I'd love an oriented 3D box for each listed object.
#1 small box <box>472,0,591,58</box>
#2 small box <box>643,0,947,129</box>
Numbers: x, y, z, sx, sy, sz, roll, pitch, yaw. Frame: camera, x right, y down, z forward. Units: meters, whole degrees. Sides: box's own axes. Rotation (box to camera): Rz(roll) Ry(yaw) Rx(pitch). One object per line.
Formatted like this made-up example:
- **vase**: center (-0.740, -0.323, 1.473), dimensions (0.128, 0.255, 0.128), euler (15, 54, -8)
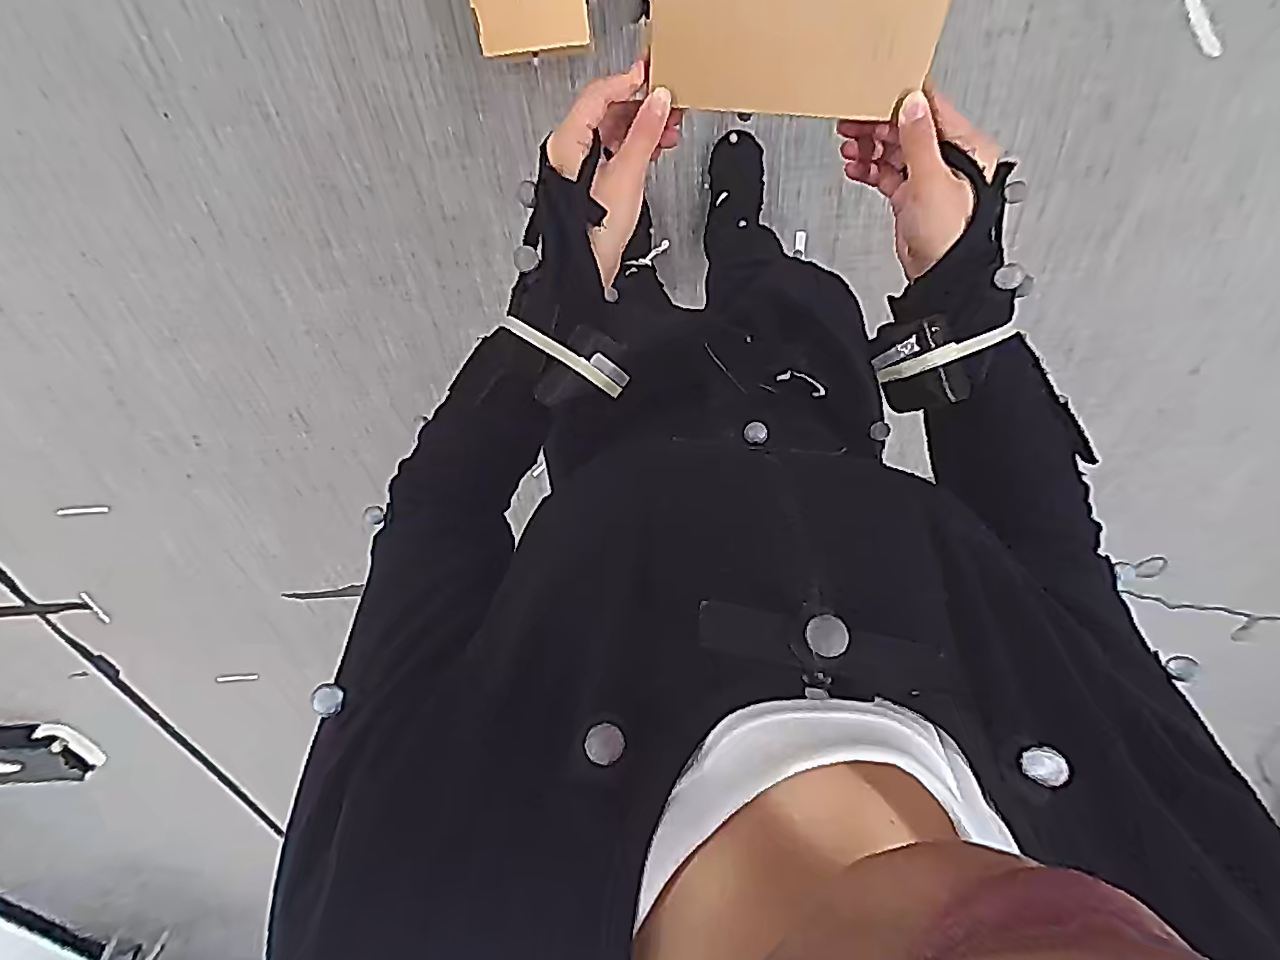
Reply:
- **small box**: center (-0.175, -0.801, 0.879), dimensions (0.179, 0.176, 0.168), euler (-5, 126, 2)
- **small box**: center (0.090, -0.343, 0.338), dimensions (0.168, 0.176, 0.179), euler (1, 132, -4)
